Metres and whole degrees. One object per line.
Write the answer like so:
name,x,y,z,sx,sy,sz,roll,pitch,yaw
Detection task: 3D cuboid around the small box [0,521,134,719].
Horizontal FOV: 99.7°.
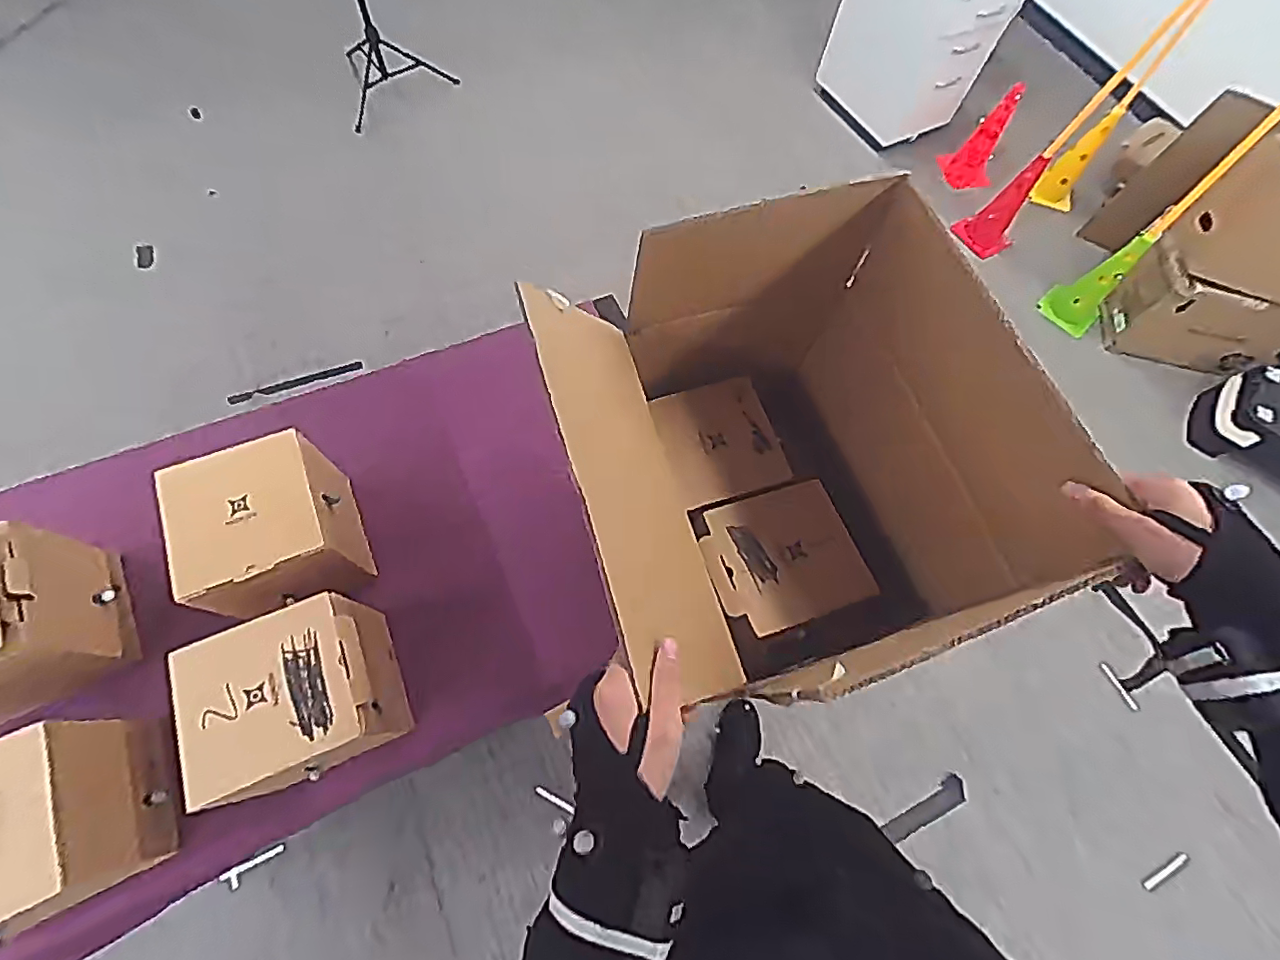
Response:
small box,-0.772,0.178,0.643,0.179,0.176,0.168,-25,72,-16

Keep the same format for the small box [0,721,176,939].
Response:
small box,-0.653,0.376,0.572,0.179,0.176,0.168,-23,72,-15
